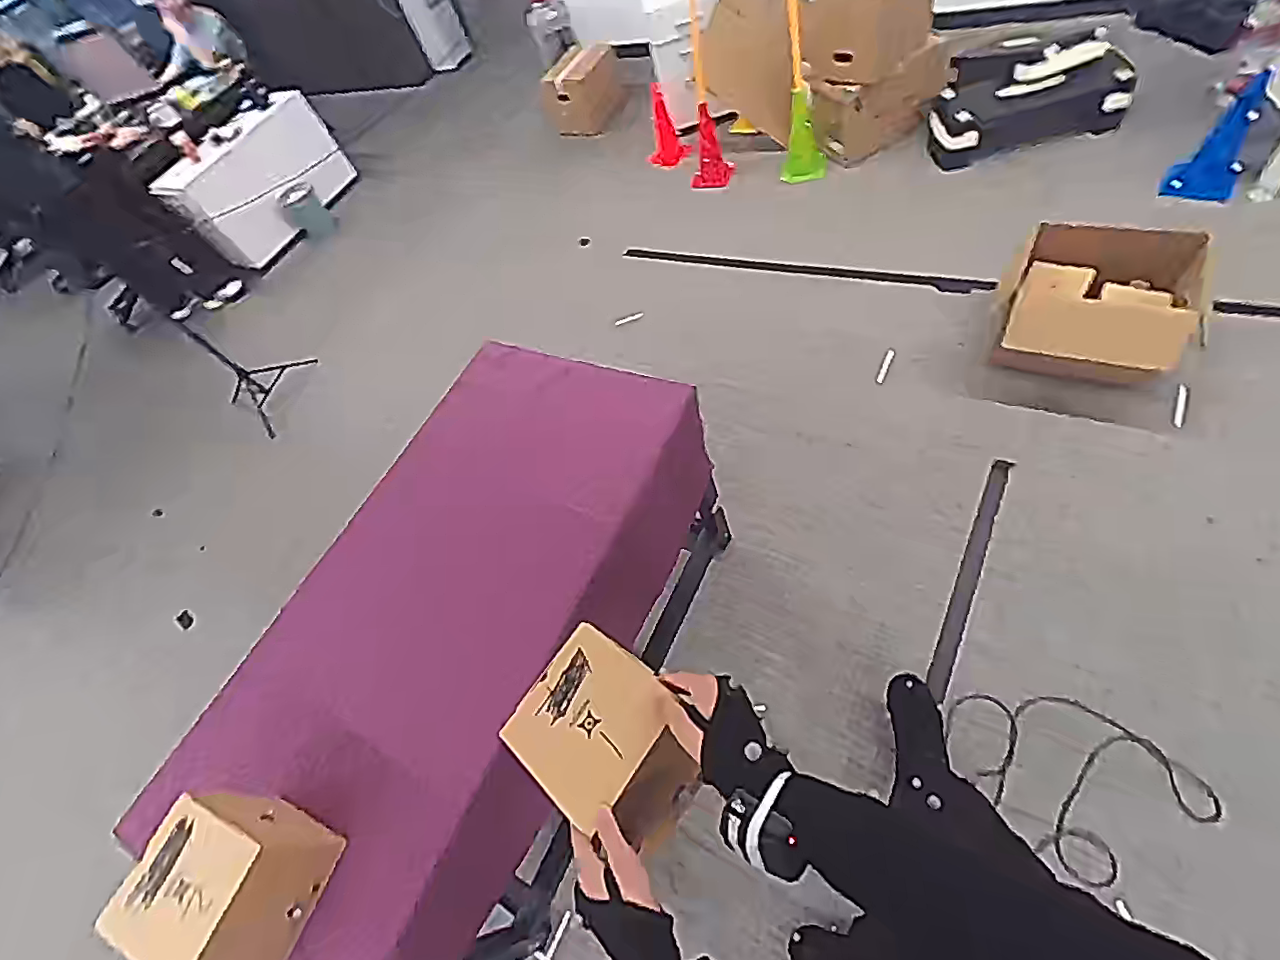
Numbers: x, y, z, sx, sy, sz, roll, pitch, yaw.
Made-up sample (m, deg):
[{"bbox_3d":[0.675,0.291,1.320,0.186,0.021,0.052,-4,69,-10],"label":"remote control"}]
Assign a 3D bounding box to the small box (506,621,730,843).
[{"bbox_3d":[-0.022,0.310,0.661,0.179,0.176,0.168,25,72,42],"label":"small box"}]
